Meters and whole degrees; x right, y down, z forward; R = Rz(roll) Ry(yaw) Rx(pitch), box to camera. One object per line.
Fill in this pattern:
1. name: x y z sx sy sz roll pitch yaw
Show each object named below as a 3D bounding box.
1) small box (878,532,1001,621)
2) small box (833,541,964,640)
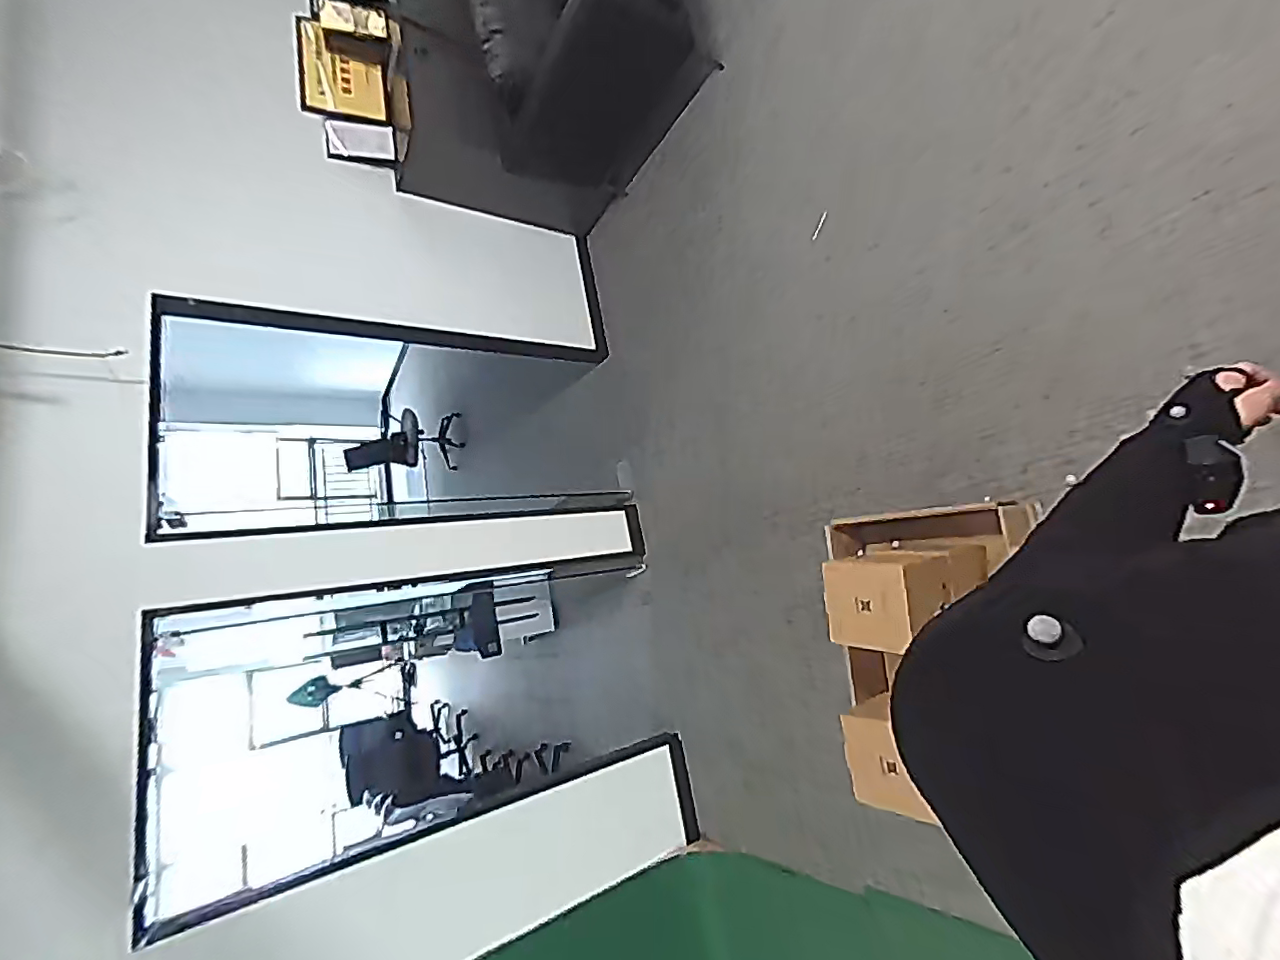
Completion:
1. small box: 0.659 0.205 1.193 0.179 0.176 0.168 -8 85 56
2. small box: 0.524 0.216 1.102 0.179 0.176 0.168 -10 85 56
